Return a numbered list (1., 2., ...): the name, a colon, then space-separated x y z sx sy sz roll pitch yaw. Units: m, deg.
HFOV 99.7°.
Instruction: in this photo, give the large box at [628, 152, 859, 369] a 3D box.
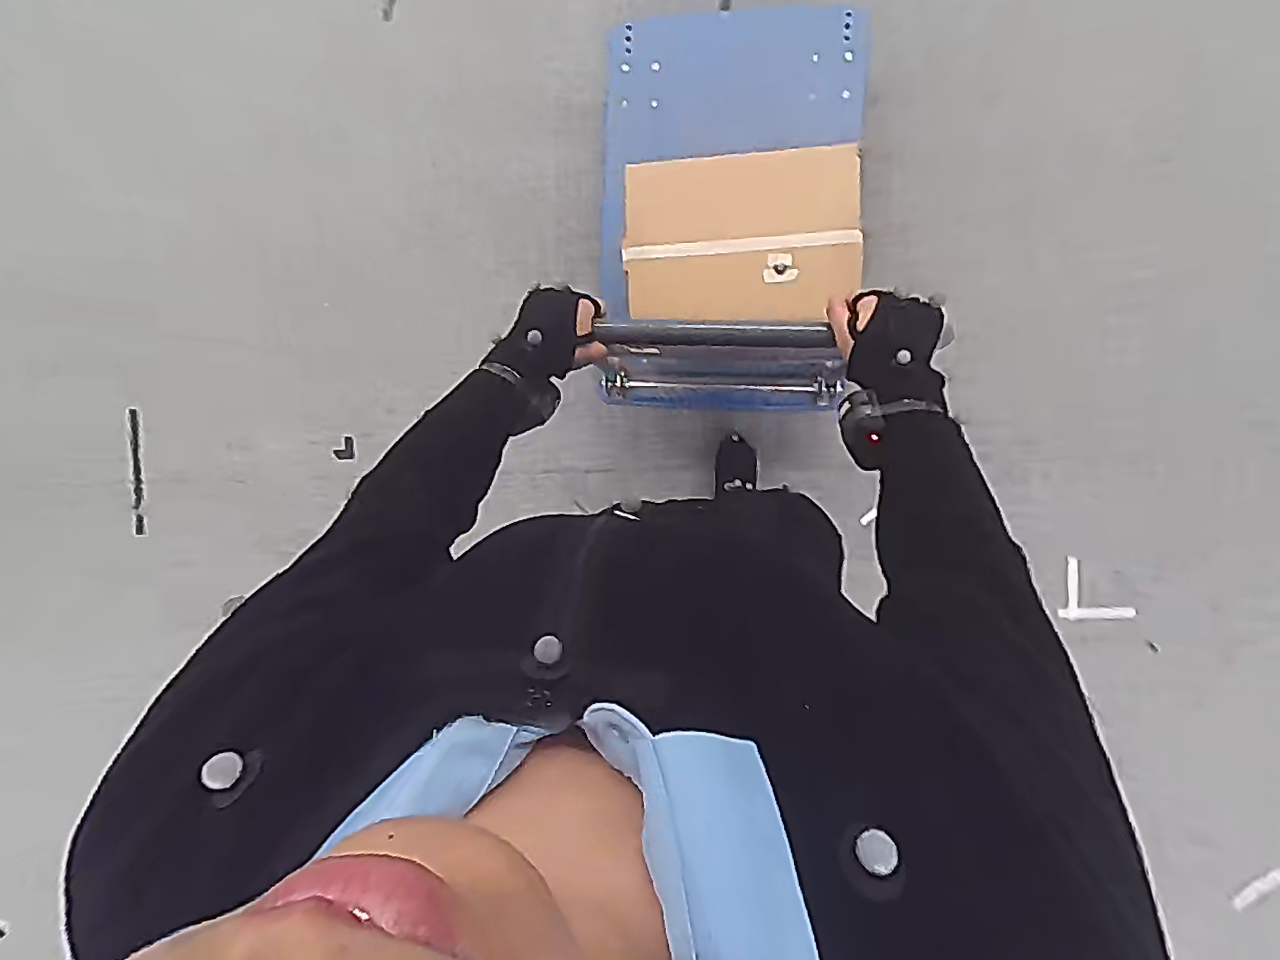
1. large box: 0.196 -0.415 1.109 0.408 0.320 0.320 -1 94 6
